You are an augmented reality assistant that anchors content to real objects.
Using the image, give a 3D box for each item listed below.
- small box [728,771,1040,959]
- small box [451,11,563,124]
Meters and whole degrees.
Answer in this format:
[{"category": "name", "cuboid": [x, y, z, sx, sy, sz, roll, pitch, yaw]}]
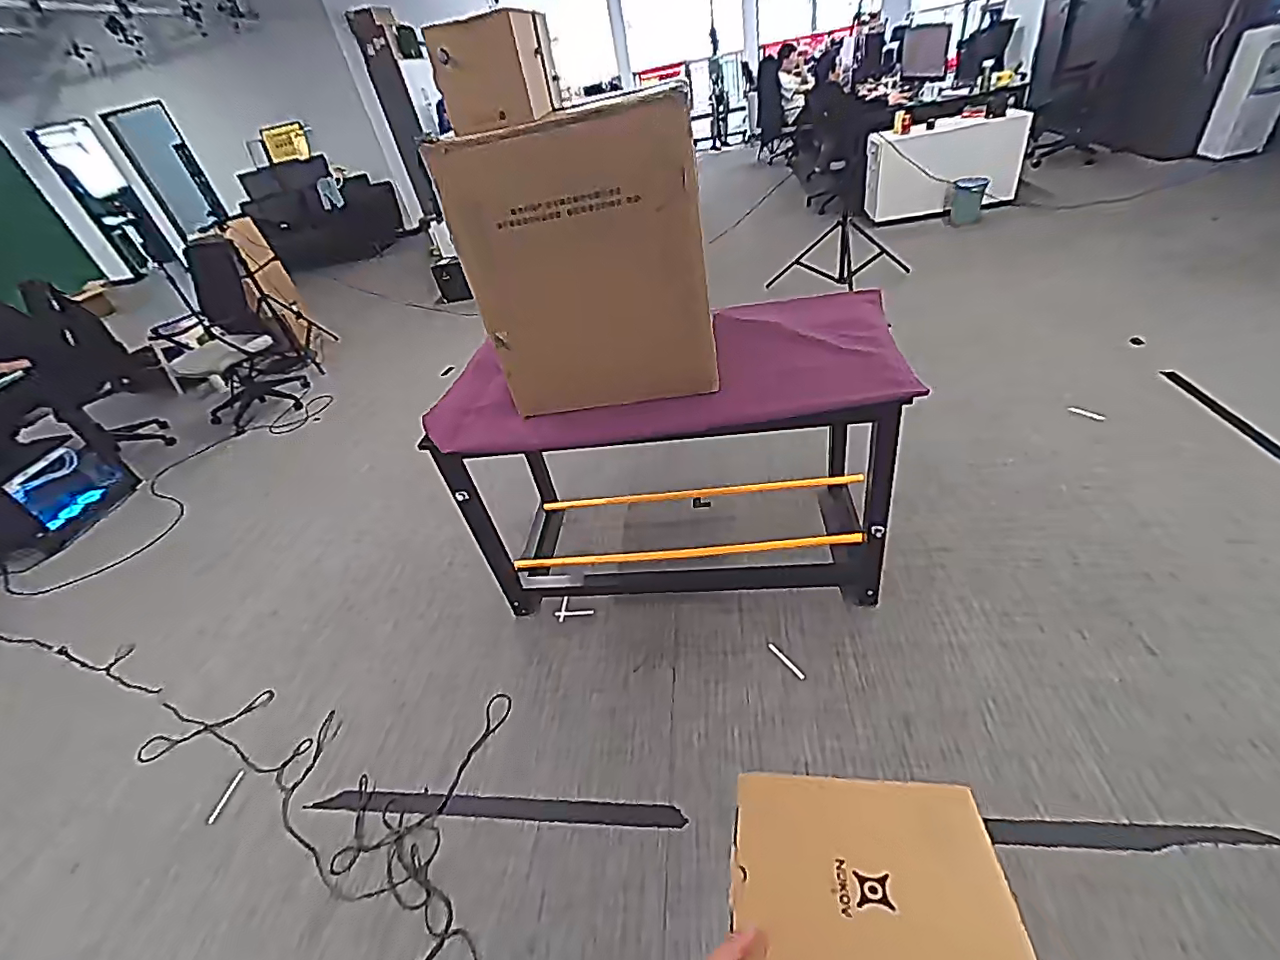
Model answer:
[{"category": "small box", "cuboid": [0.158, 0.339, 0.378, 0.179, 0.176, 0.168, -5, 21, 14]}, {"category": "small box", "cuboid": [-0.281, -0.900, 1.188, 0.179, 0.176, 0.168, -6, 38, 6]}]
